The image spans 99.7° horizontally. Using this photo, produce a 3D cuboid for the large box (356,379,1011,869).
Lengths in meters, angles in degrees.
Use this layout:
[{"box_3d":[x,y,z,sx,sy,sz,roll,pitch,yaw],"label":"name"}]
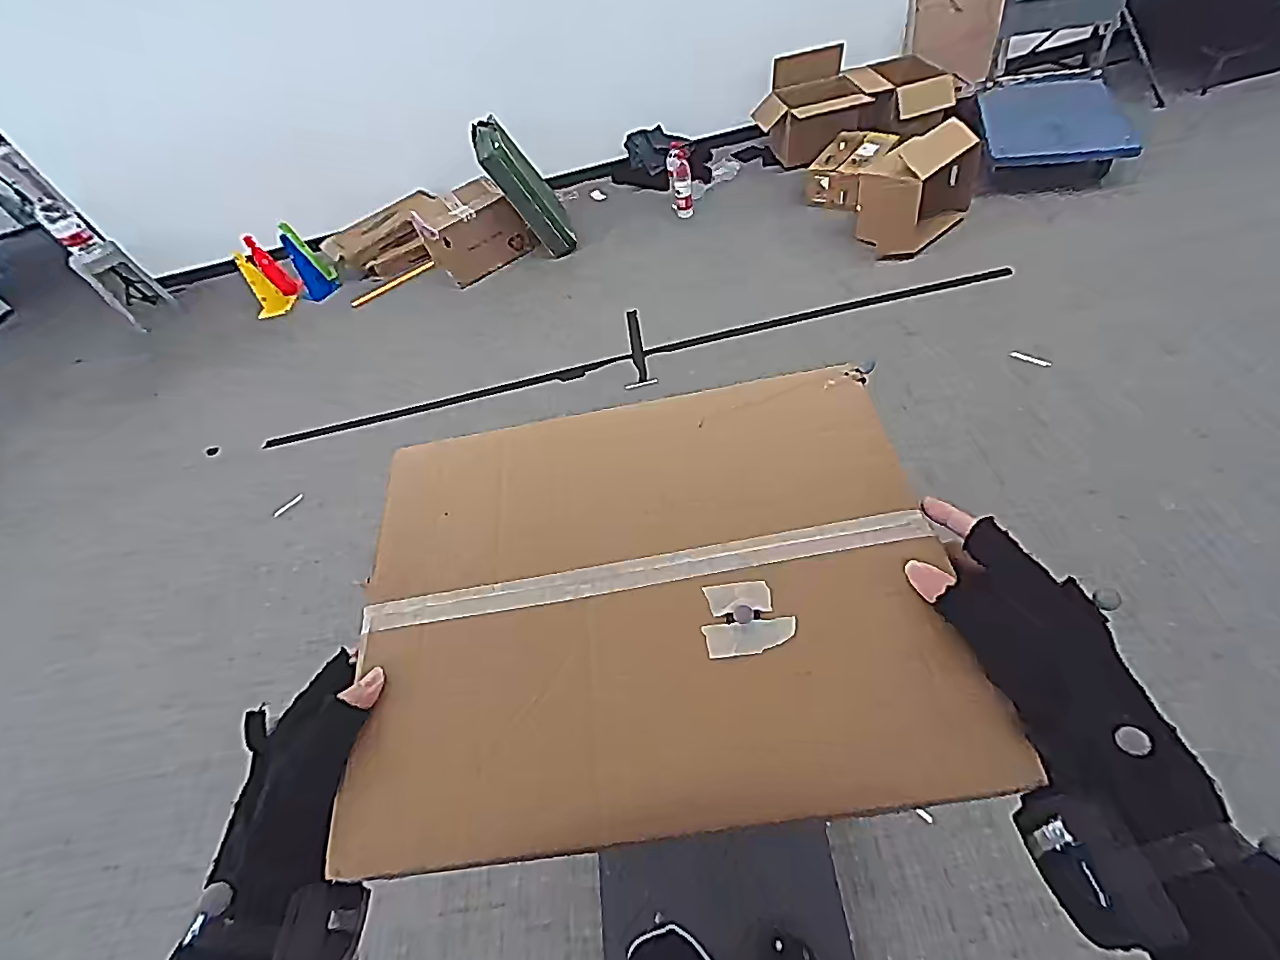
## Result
[{"box_3d":[0.022,0.153,0.523,0.408,0.320,0.320,-10,57,3],"label":"large box"}]
